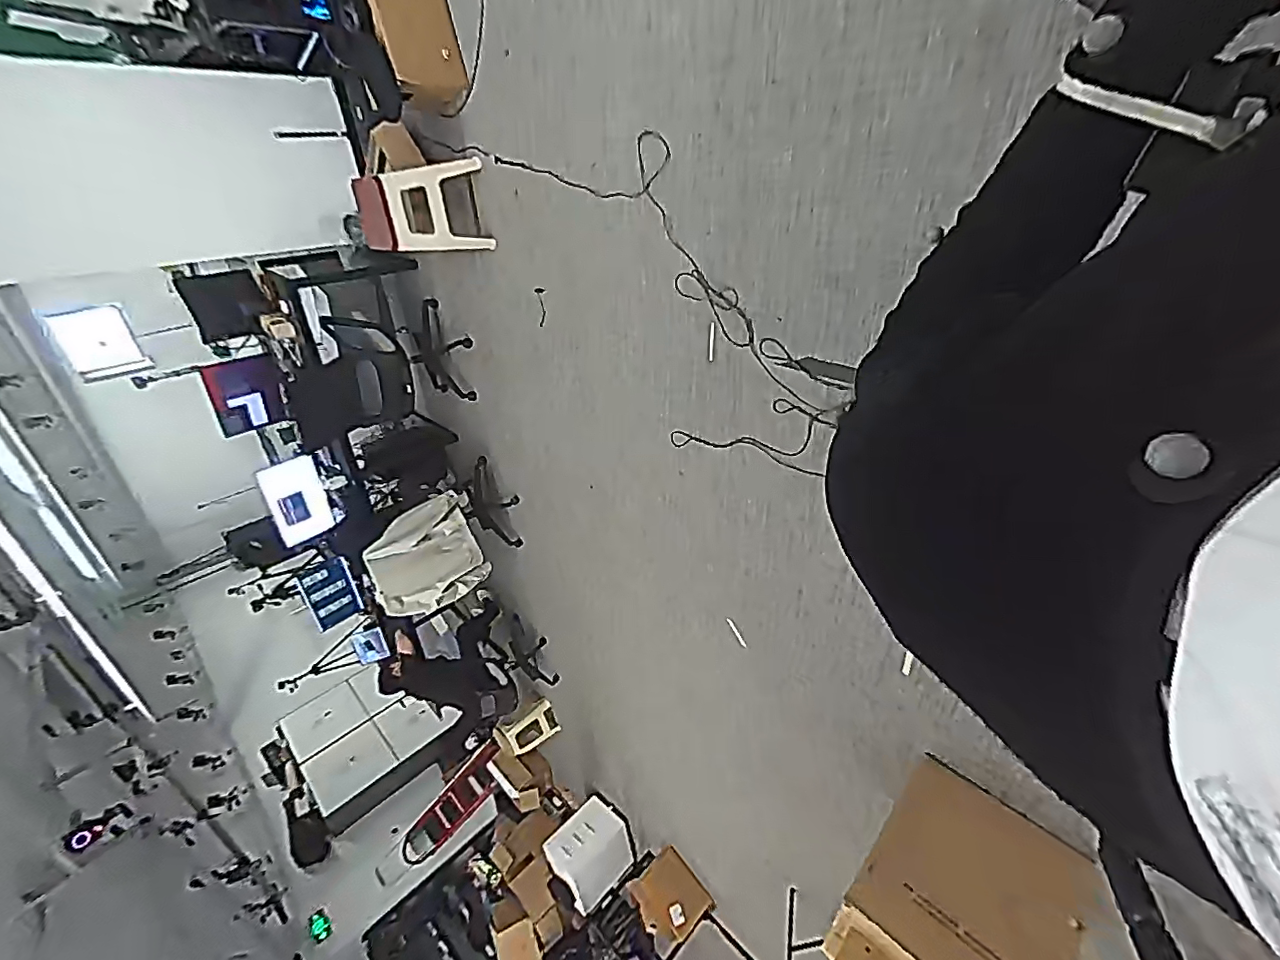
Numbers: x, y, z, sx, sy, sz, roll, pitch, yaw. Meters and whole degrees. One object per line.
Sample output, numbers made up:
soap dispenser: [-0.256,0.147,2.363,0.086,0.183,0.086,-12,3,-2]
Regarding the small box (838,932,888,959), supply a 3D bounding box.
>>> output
small box: [0.635,1.457,1.541,0.168,0.176,0.179,26,130,36]
